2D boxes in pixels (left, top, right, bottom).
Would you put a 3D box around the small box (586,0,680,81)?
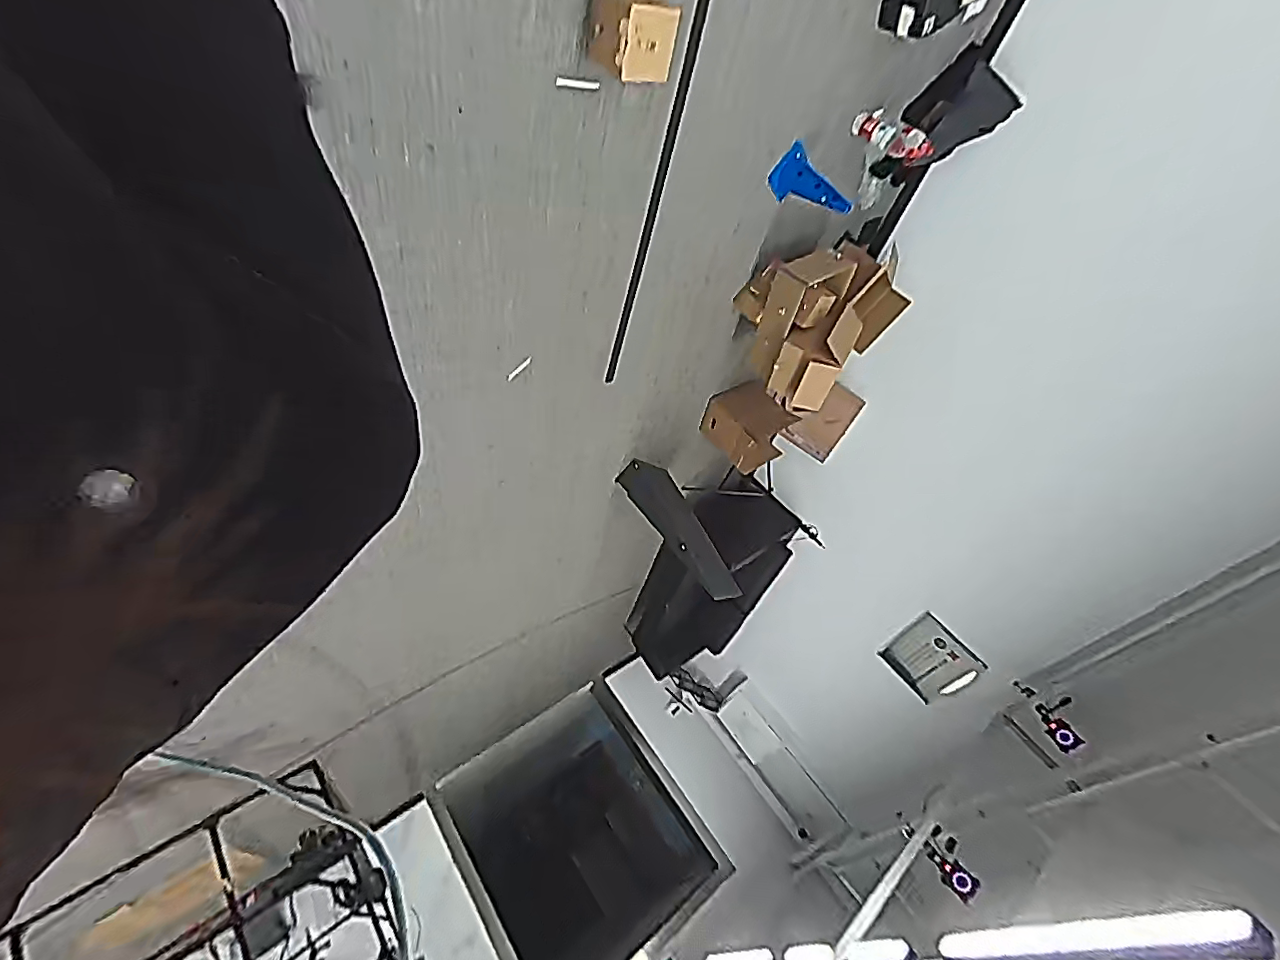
[{"bbox_3d":[-0.023,-1.231,1.490,0.179,0.176,0.168,-24,150,-31],"label":"small box"}]
